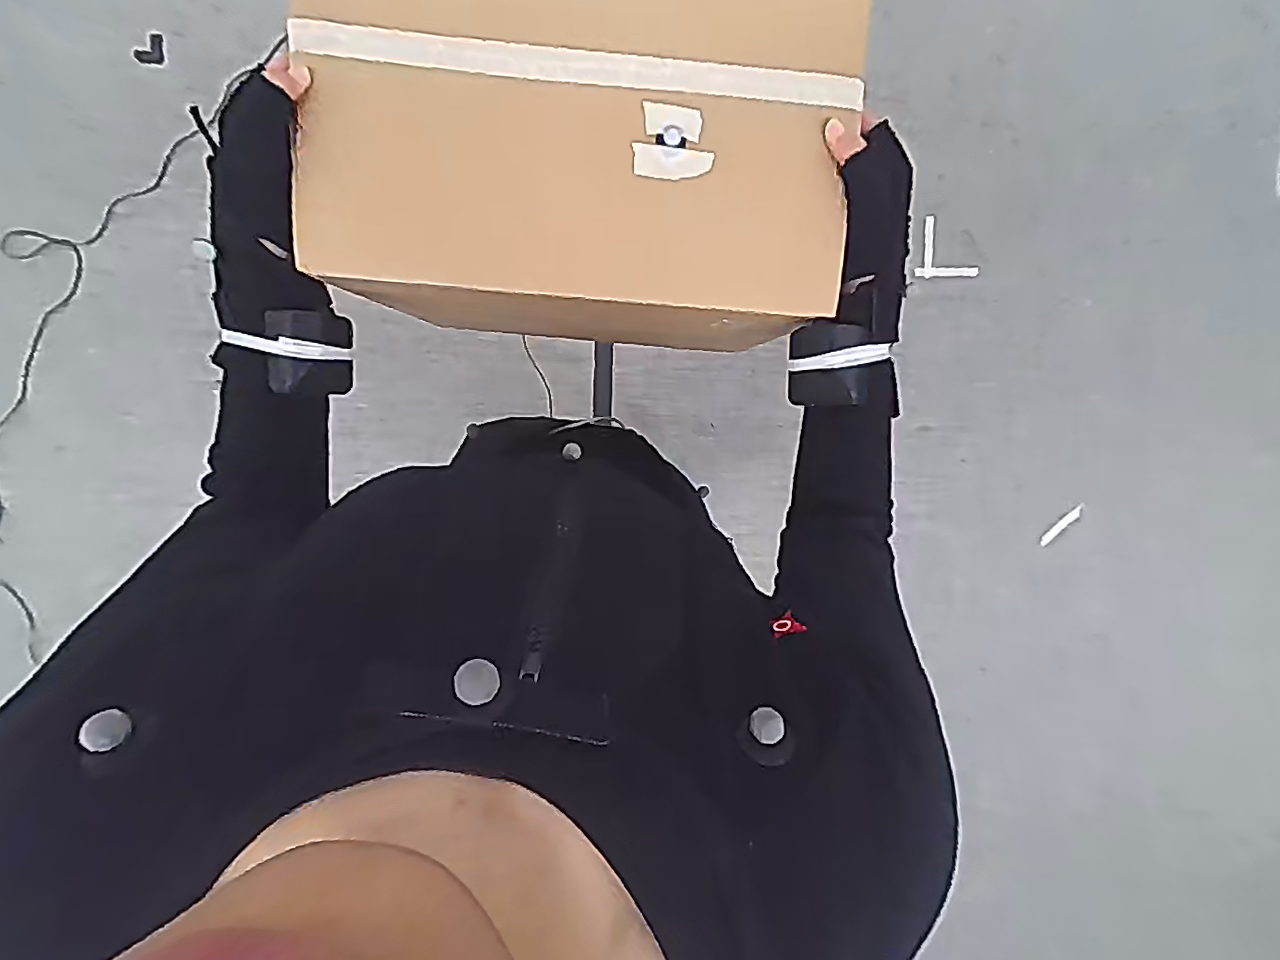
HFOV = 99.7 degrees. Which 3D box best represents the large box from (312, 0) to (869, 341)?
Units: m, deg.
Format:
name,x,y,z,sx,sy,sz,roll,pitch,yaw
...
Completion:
name,x,y,z,sx,sy,sz,roll,pitch,yaw
large box,-0.043,-0.322,0.541,0.408,0.320,0.320,4,100,-4
